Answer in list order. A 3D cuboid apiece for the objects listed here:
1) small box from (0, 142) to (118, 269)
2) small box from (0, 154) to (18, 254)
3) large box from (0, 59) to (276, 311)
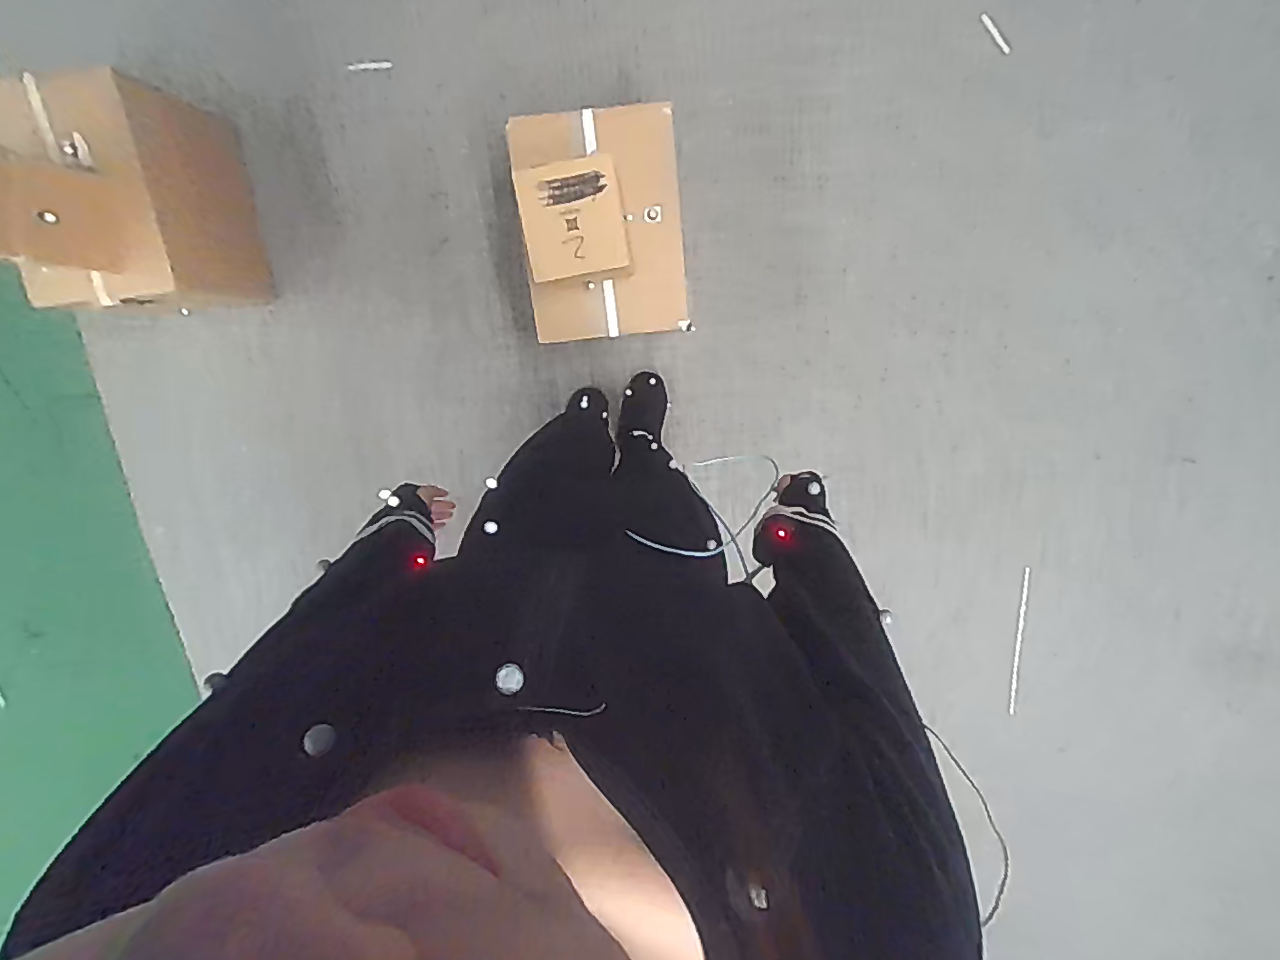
[{"bbox_3d":[-1.100,-0.488,0.967,0.168,0.176,0.179,6,106,0],"label":"small box"},{"bbox_3d":[-1.110,-0.453,0.808,0.168,0.176,0.179,10,107,0],"label":"small box"},{"bbox_3d":[-1.092,-0.602,1.187,0.320,0.320,0.408,-5,104,3],"label":"large box"}]
